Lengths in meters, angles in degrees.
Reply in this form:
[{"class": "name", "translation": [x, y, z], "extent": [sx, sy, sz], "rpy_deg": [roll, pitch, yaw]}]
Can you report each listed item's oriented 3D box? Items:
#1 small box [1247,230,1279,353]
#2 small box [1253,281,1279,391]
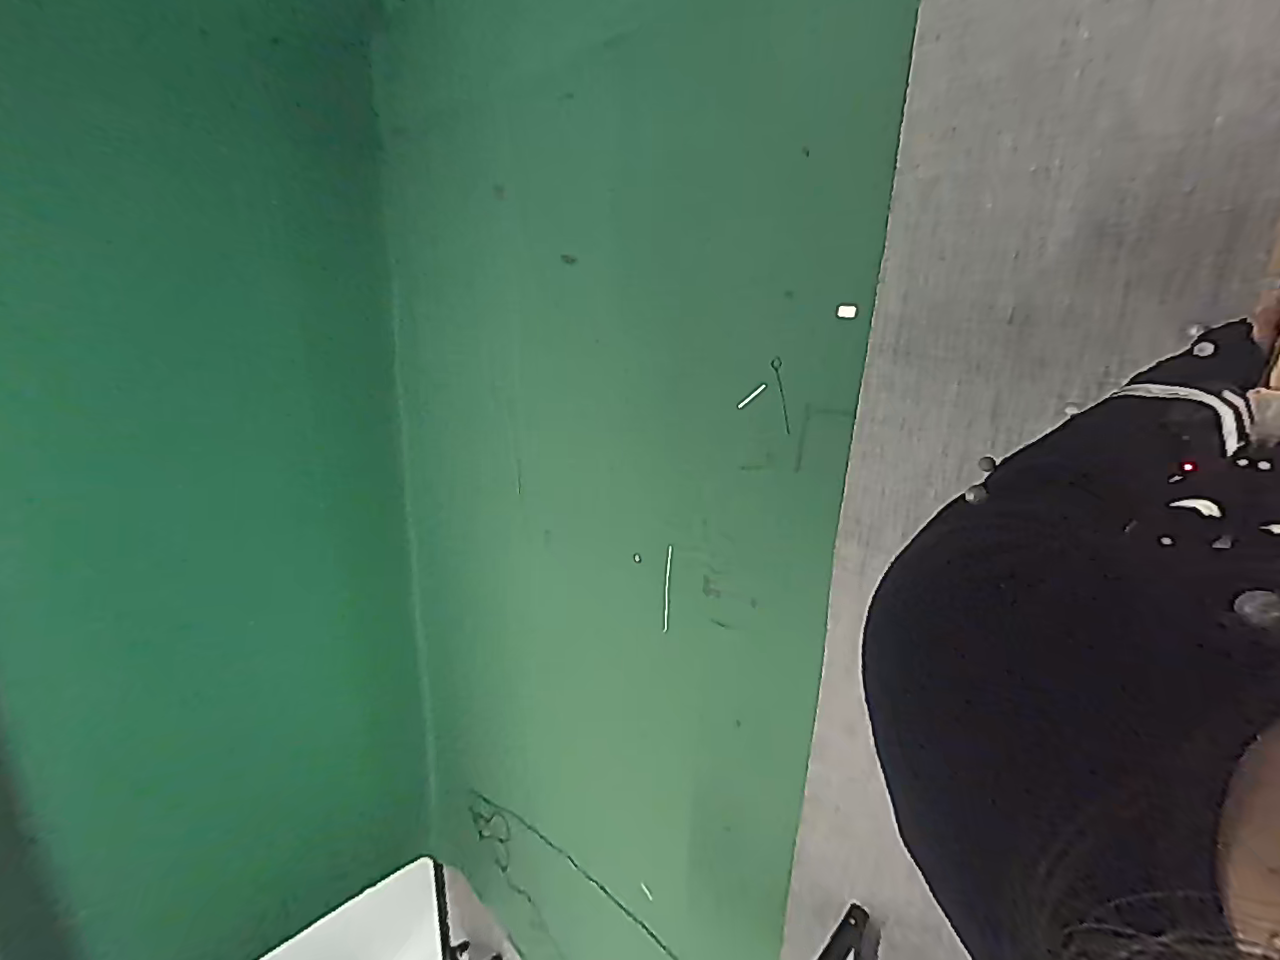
[{"class": "small box", "translation": [0.749, -0.204, 0.537], "extent": [0.168, 0.176, 0.179], "rpy_deg": [15, 112, 42]}, {"class": "small box", "translation": [0.619, -0.152, 0.411], "extent": [0.168, 0.176, 0.179], "rpy_deg": [21, 118, 39]}]
